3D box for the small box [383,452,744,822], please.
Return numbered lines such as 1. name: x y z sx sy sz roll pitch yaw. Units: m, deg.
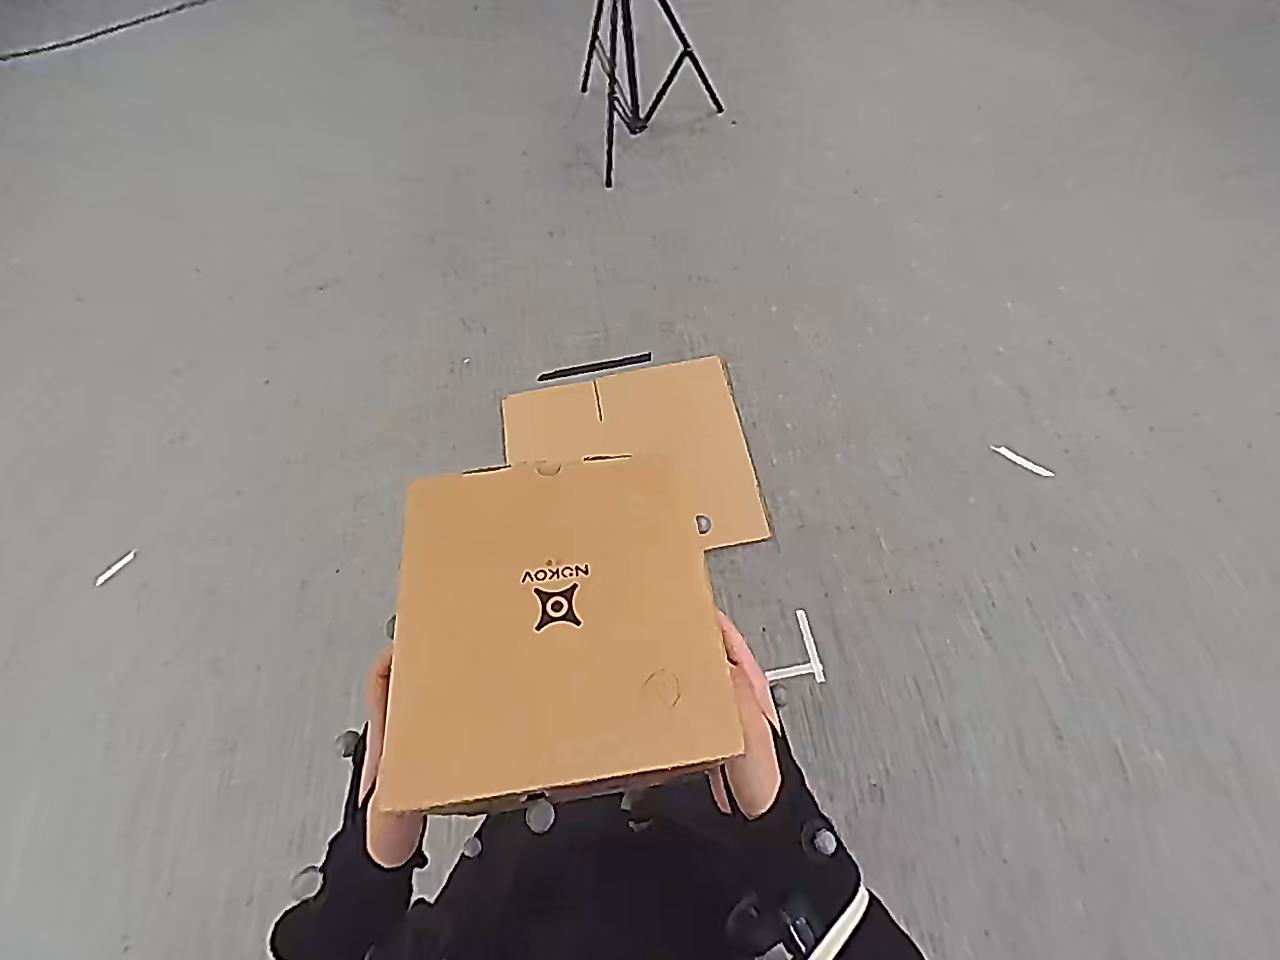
1. small box: -0.044 0.106 0.349 0.168 0.176 0.179 -6 58 -6
